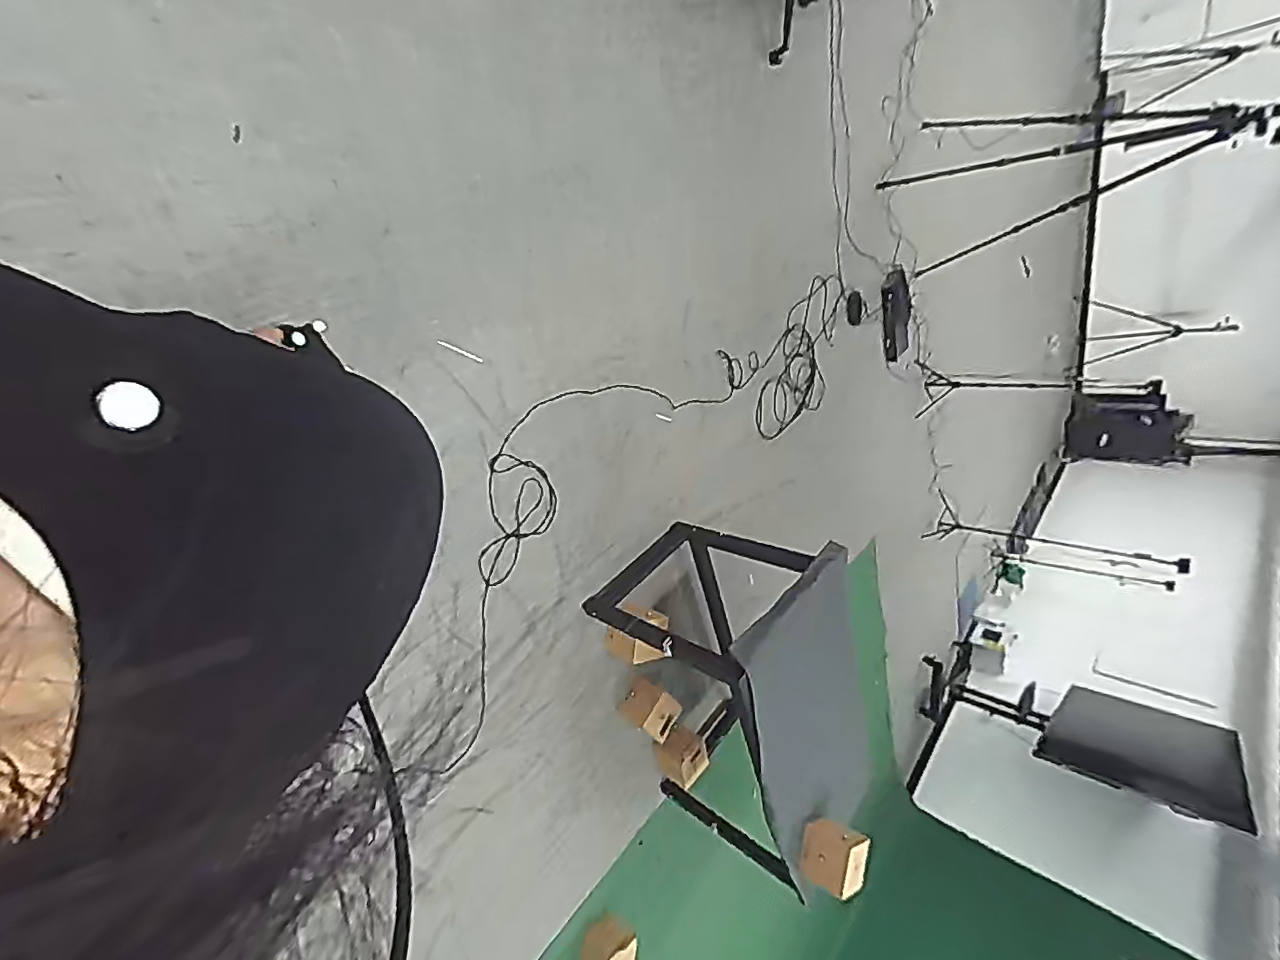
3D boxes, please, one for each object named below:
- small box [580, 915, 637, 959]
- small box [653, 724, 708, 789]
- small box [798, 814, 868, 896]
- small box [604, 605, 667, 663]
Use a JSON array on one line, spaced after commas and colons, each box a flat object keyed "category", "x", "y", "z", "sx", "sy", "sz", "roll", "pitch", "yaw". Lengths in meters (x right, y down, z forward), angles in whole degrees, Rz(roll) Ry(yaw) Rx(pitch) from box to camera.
[{"category": "small box", "x": -0.135, "y": 1.985, "z": 2.272, "sx": 0.168, "sy": 0.176, "sz": 0.179, "roll": 6, "pitch": 93, "yaw": -46}, {"category": "small box", "x": 0.180, "y": 1.238, "z": 2.445, "sx": 0.168, "sy": 0.176, "sz": 0.179, "roll": -31, "pitch": 119, "yaw": -37}, {"category": "small box", "x": 0.685, "y": 1.324, "z": 1.922, "sx": 0.179, "sy": 0.176, "sz": 0.168, "roll": 23, "pitch": 79, "yaw": -45}, {"category": "small box", "x": -0.020, "y": 0.601, "z": 2.134, "sx": 0.179, "sy": 0.176, "sz": 0.168, "roll": 4, "pitch": 94, "yaw": -46}]
